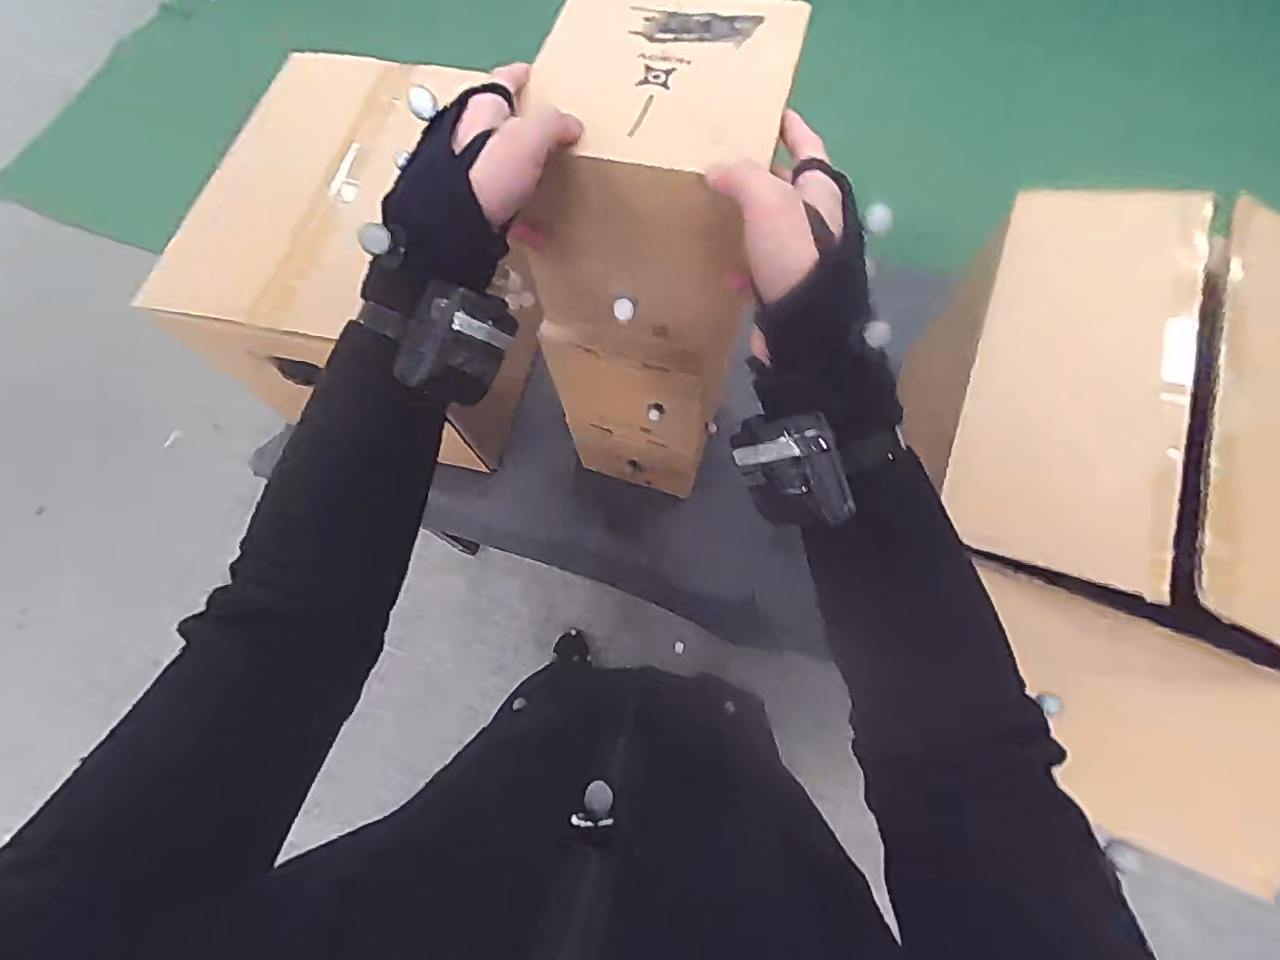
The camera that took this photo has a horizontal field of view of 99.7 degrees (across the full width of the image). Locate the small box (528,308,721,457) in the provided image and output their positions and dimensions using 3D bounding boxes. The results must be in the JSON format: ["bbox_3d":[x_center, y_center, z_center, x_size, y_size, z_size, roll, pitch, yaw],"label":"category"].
[{"bbox_3d":[0.005,-0.144,0.566,0.168,0.176,0.179,16,71,7],"label":"small box"}]

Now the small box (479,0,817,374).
[{"bbox_3d":[0.013,-0.207,0.390,0.168,0.176,0.179,13,70,8],"label":"small box"}]
